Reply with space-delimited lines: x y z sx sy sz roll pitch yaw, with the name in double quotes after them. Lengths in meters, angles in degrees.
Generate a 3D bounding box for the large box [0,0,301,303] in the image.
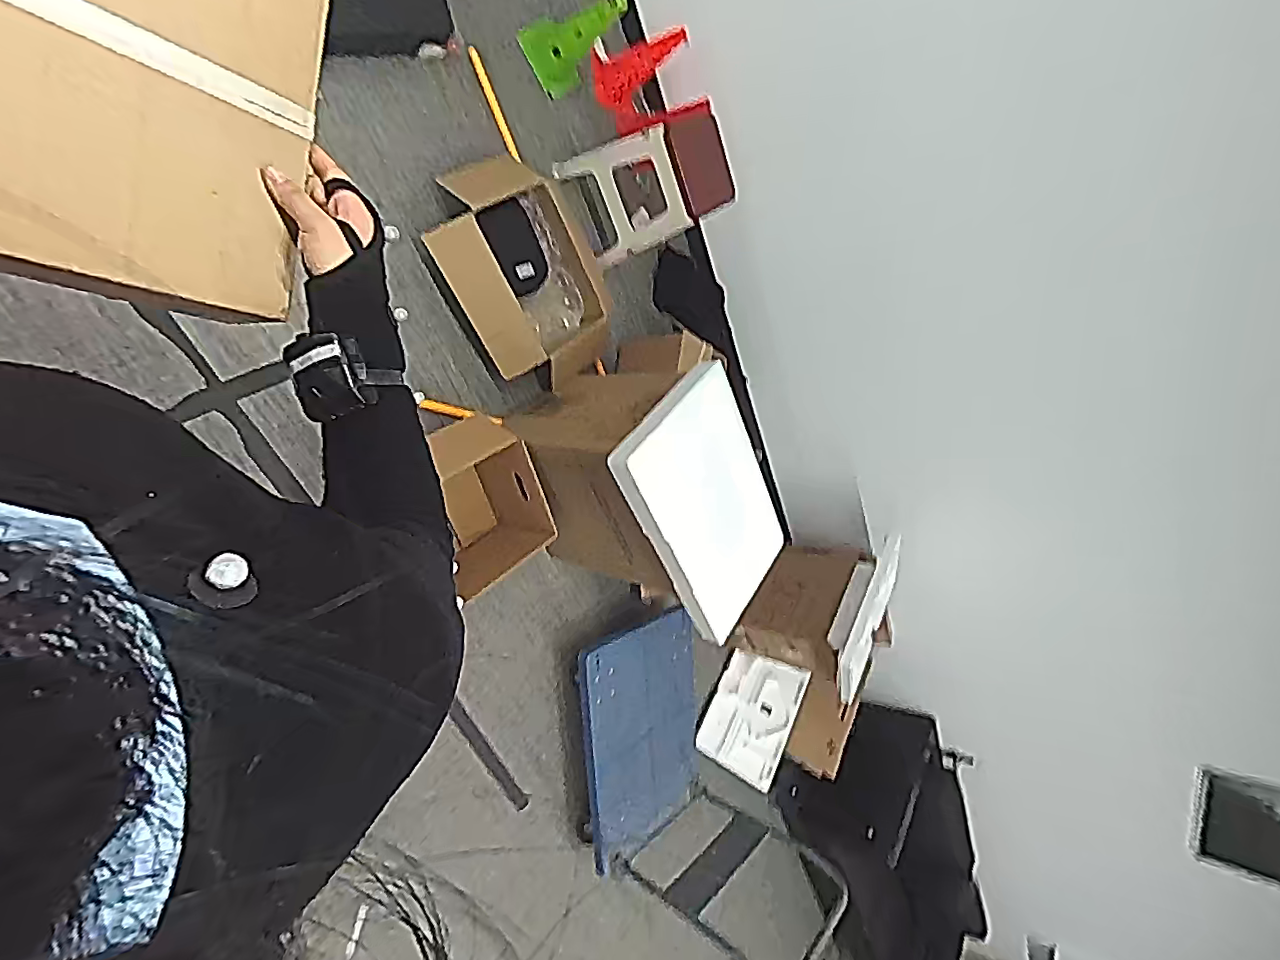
-0.528 -0.338 0.410 0.408 0.320 0.320 4 98 -45 "large box"
